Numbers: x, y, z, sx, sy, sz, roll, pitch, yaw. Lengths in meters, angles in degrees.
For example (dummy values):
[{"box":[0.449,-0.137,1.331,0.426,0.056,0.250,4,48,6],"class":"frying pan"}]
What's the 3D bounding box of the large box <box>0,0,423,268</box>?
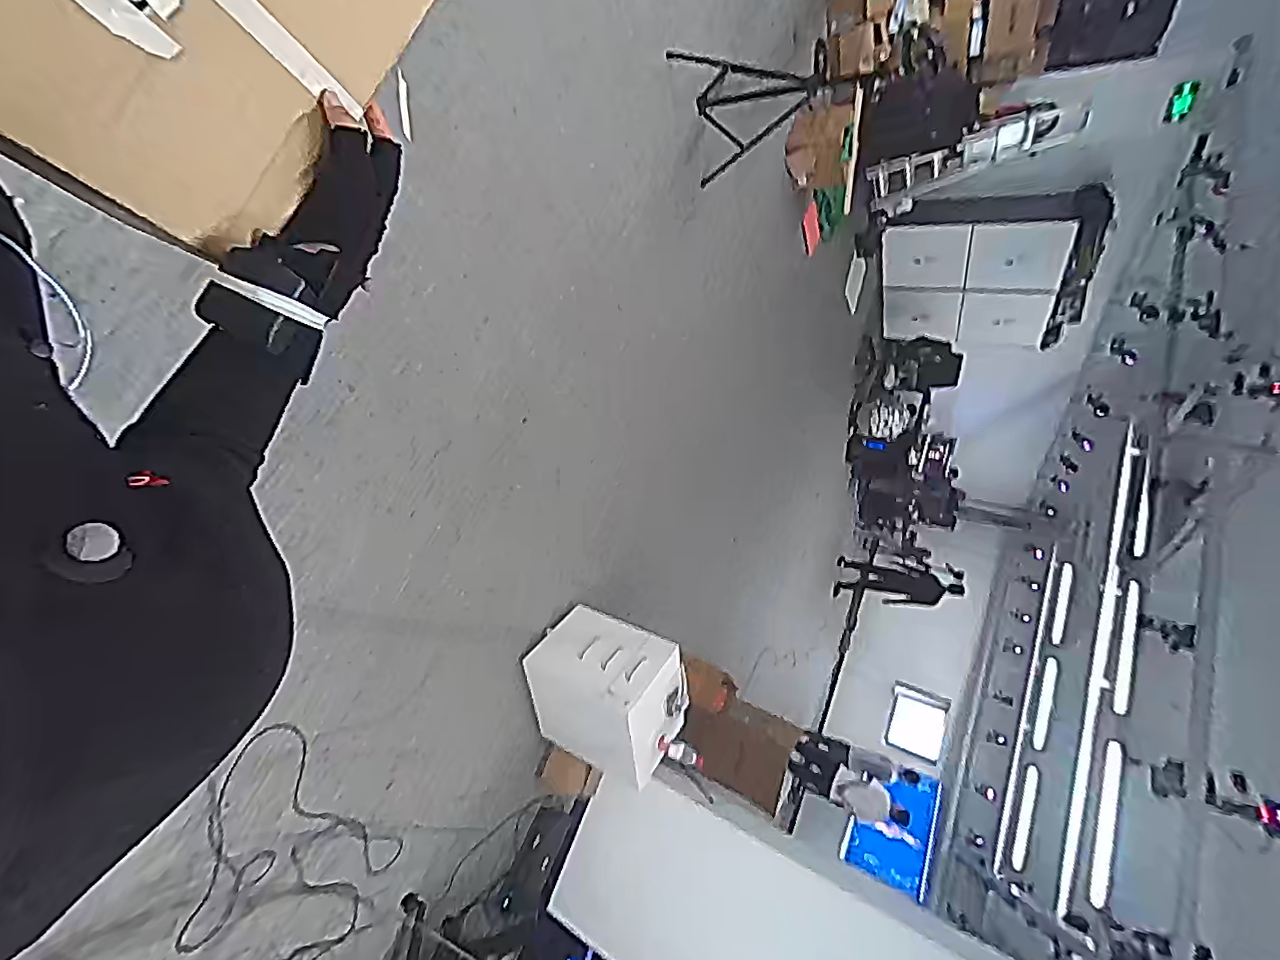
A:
[{"box":[-0.441,-0.414,0.358,0.320,0.320,0.408,-61,150,-4],"class":"large box"}]
